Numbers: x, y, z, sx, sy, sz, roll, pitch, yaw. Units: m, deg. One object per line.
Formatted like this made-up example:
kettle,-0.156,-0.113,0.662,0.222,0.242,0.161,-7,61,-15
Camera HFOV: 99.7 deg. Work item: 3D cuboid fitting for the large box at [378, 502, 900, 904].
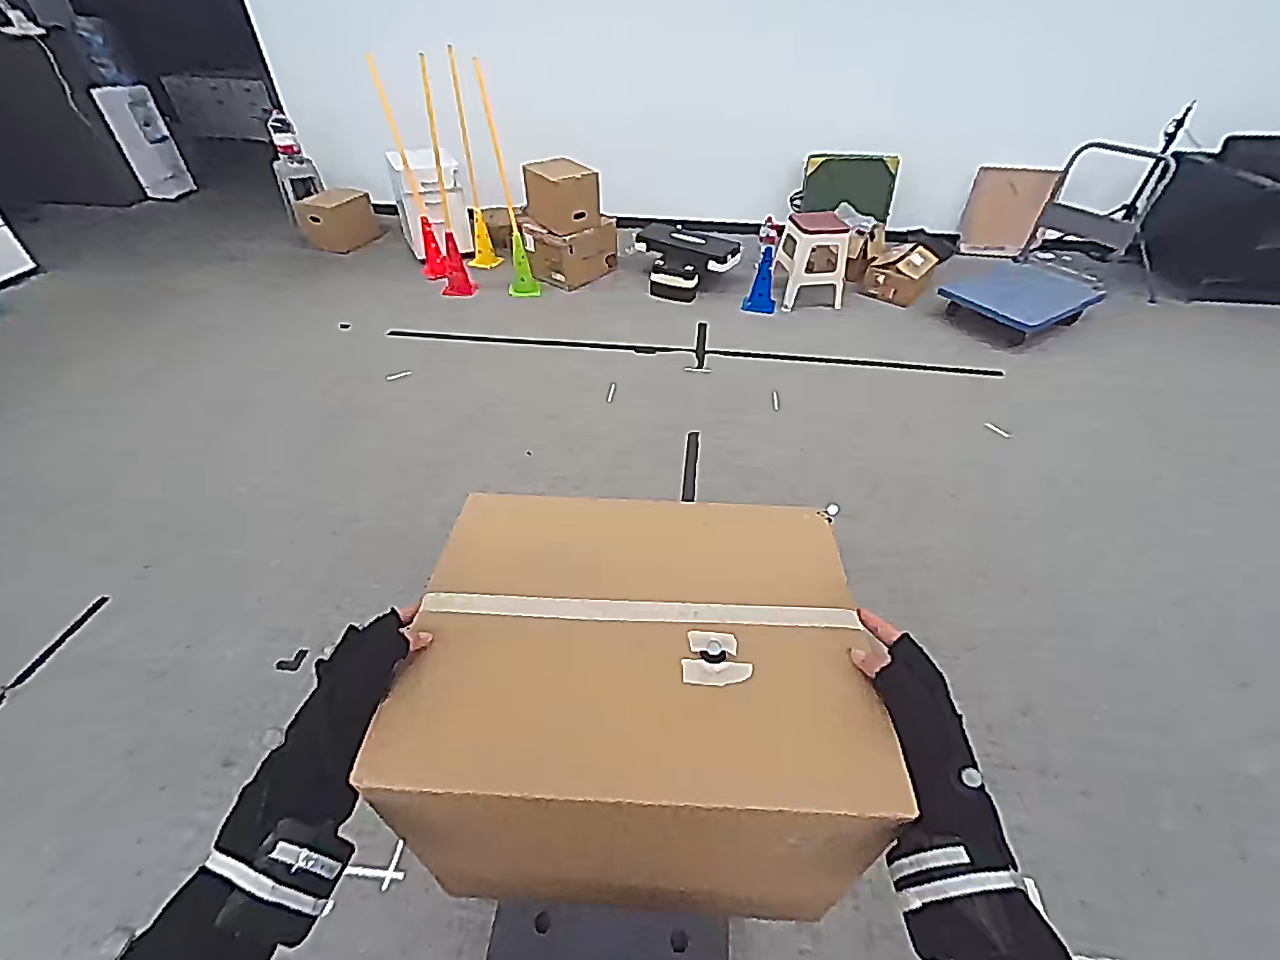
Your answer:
large box,-0.001,0.244,0.611,0.408,0.320,0.320,3,41,2
